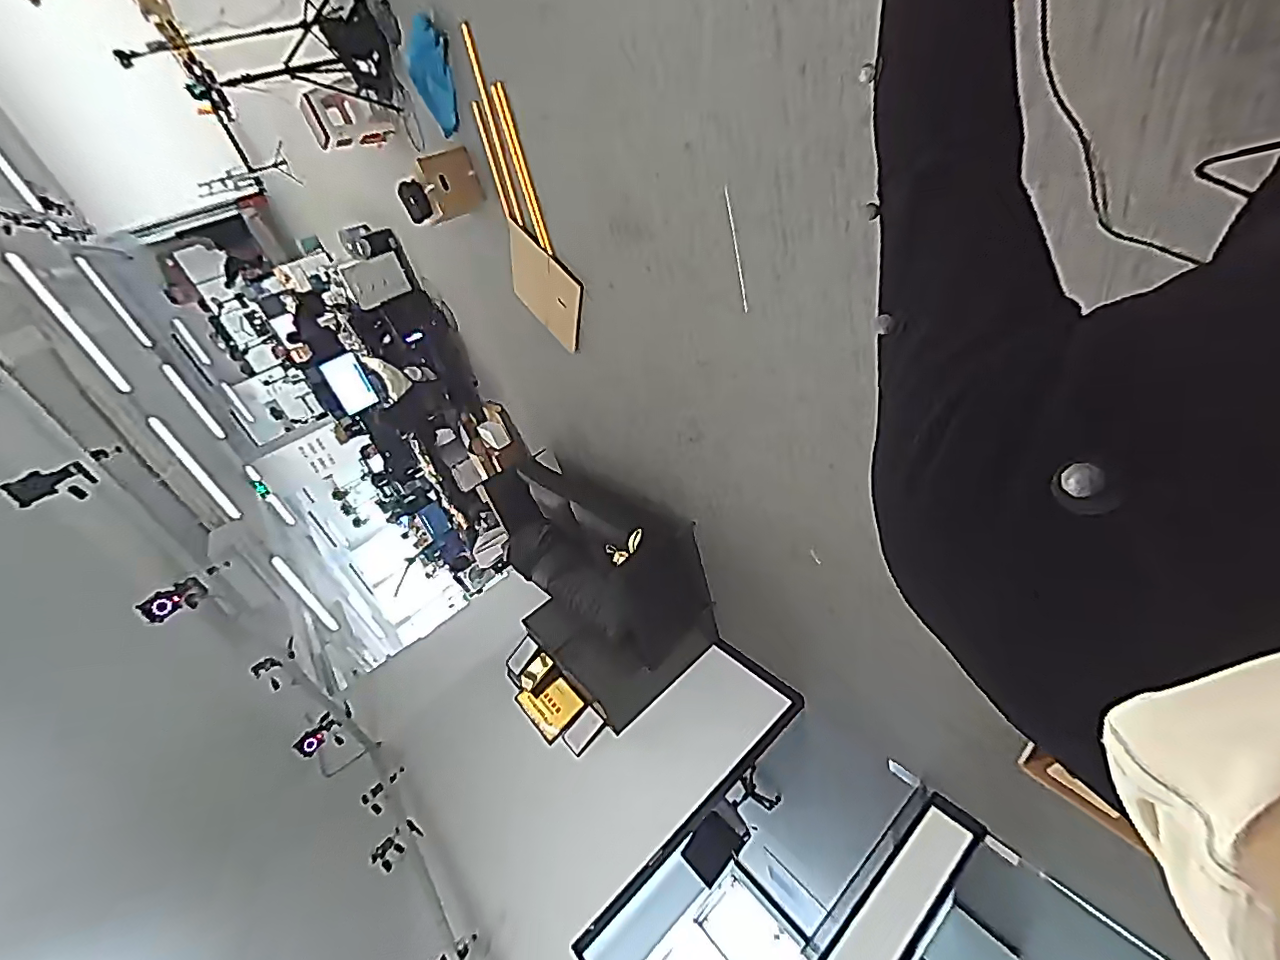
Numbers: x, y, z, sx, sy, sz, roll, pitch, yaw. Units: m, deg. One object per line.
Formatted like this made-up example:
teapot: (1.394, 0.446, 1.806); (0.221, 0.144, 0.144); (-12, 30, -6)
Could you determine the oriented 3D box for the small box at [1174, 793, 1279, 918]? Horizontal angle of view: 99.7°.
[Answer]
small box: (1.518, 0.938, 1.359); (0.179, 0.176, 0.168); (33, 148, 39)
